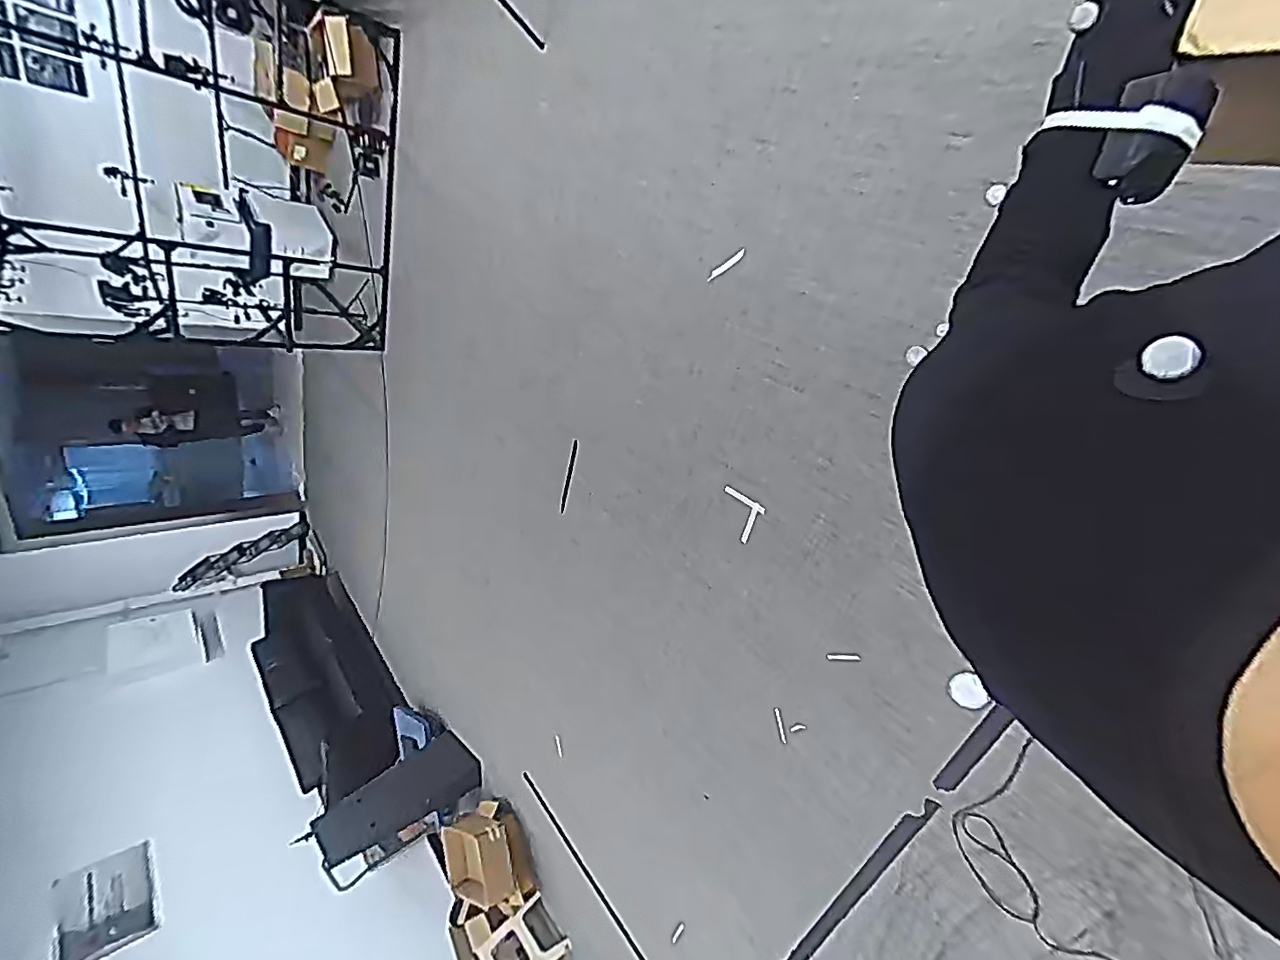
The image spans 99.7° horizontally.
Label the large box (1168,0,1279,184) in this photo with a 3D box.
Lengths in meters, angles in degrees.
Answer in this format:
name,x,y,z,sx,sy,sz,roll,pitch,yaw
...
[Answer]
name,x,y,z,sx,sy,sz,roll,pitch,yaw
large box,0.610,-0.359,0.287,0.408,0.320,0.320,28,120,37
